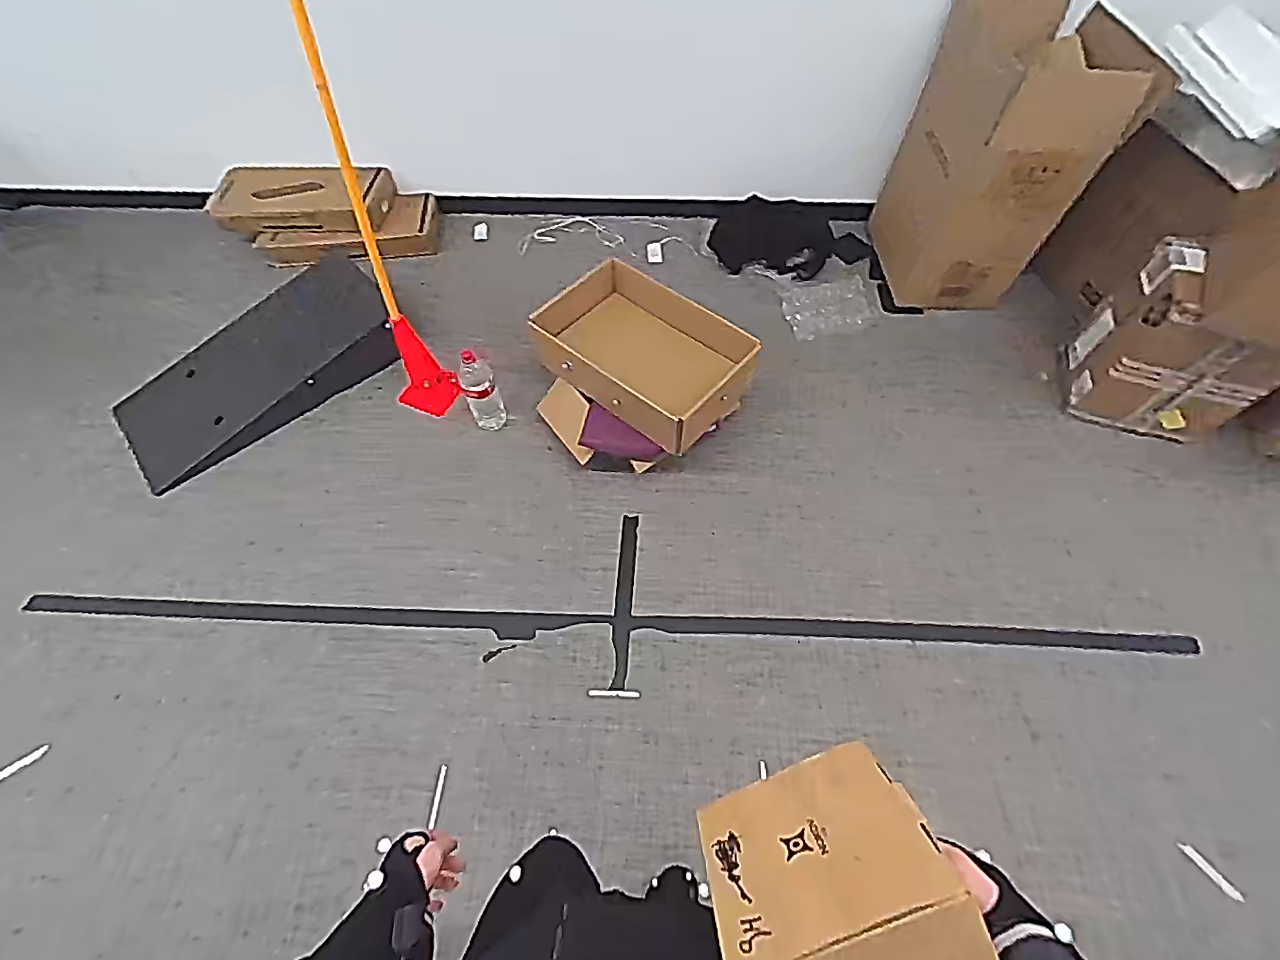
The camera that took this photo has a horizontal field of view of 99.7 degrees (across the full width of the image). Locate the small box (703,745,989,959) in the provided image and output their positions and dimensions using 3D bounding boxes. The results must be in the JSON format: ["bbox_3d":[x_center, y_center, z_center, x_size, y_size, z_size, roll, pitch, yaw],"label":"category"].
[{"bbox_3d":[0.174,0.377,0.463,0.179,0.168,0.176,-24,96,1],"label":"small box"}]
